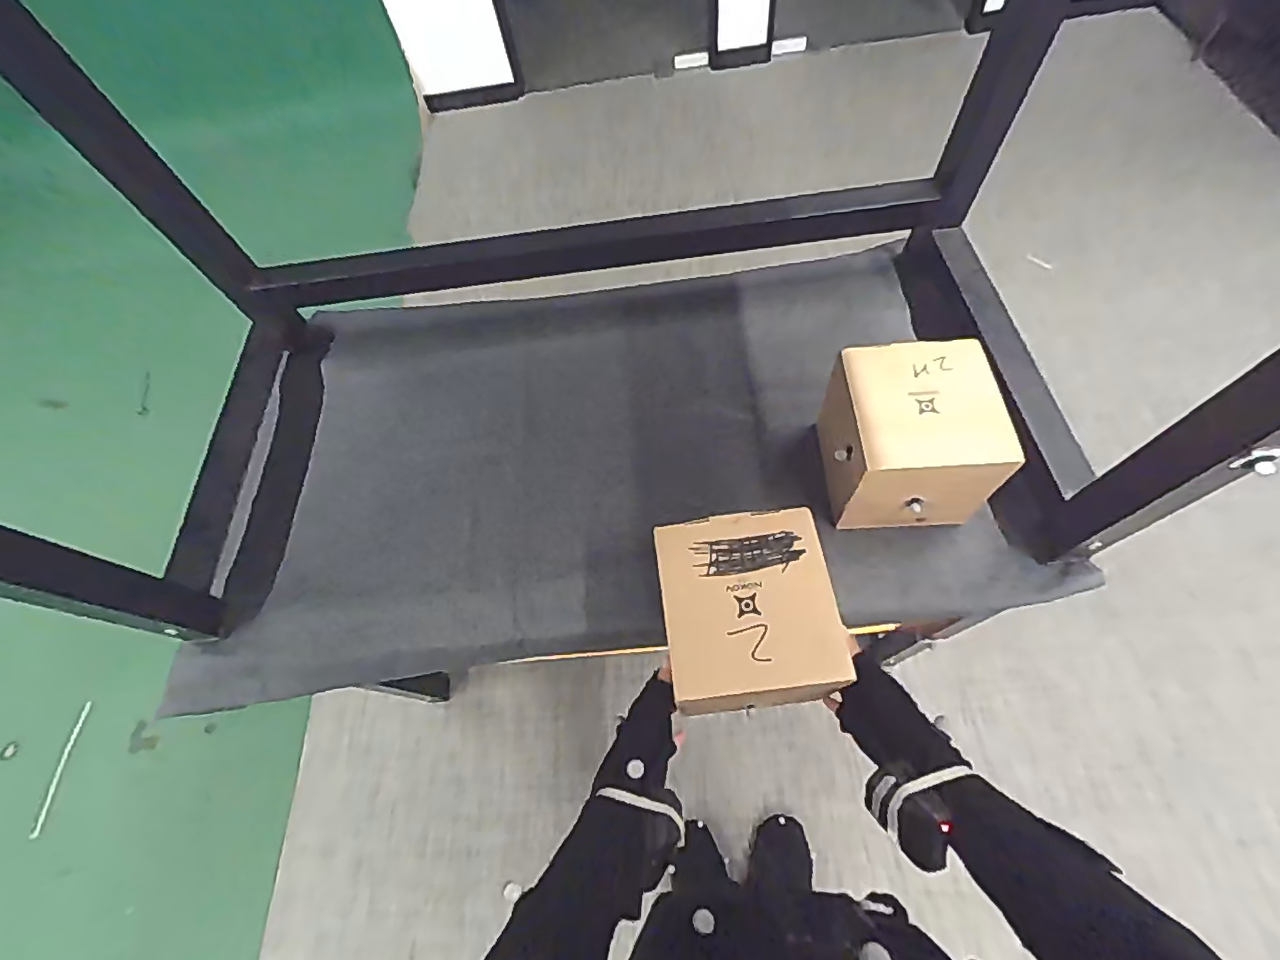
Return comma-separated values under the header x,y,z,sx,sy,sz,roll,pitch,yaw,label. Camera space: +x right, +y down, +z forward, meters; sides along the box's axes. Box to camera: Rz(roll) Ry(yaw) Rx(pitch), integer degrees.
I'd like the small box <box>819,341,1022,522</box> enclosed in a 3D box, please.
x,y,z,sx,sy,sz,roll,pitch,yaw,label
0.338,-0.051,0.694,0.168,0.176,0.179,-3,62,5,small box
